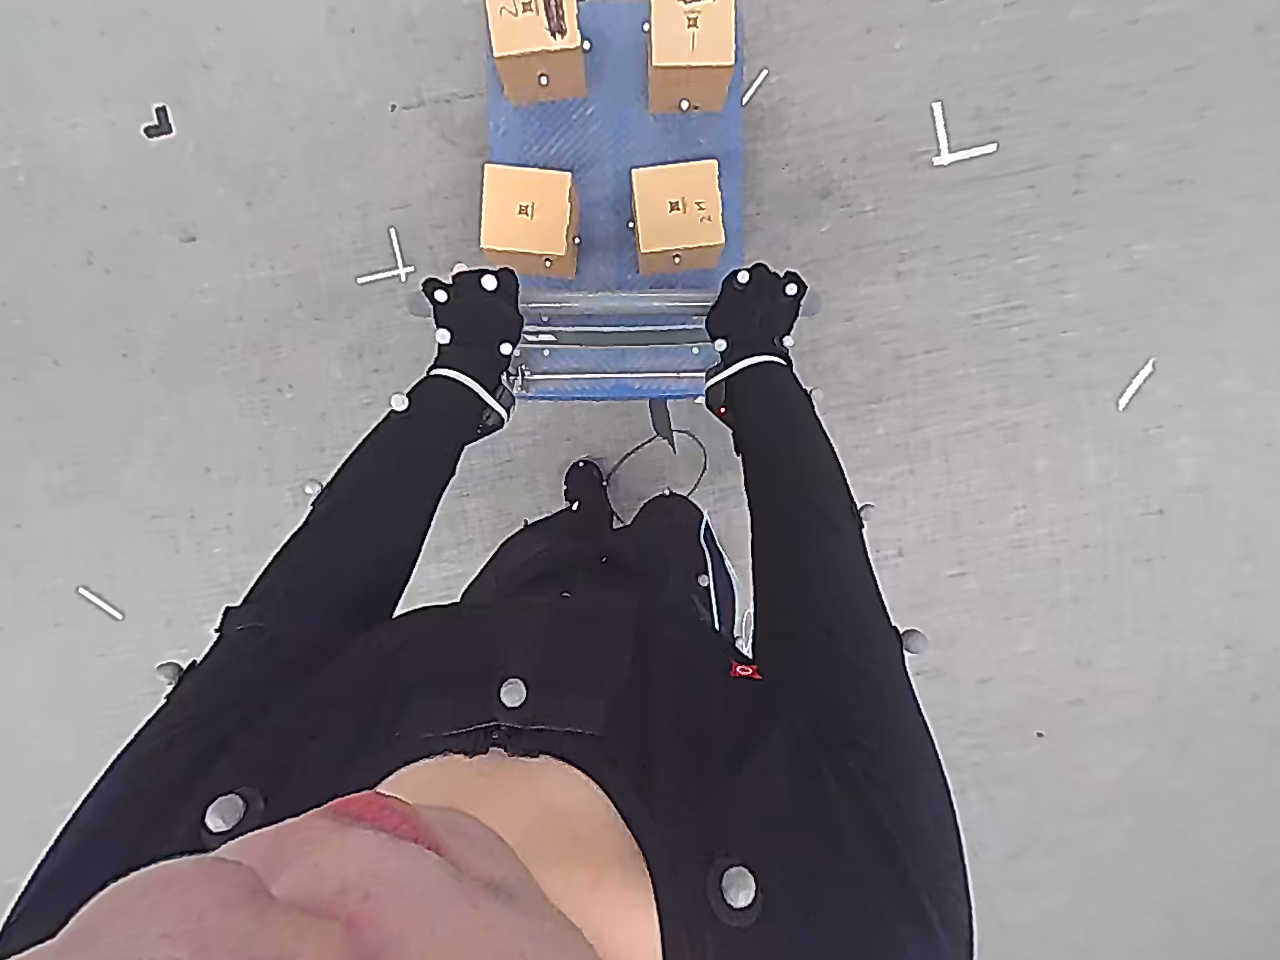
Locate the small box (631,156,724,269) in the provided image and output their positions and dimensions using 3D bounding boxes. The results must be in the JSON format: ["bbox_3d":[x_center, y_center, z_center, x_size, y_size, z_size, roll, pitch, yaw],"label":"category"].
[{"bbox_3d":[0.077,-0.568,1.169,0.179,0.176,0.168,-6,96,0],"label":"small box"}]

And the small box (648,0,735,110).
[{"bbox_3d":[0.102,-0.919,1.134,0.168,0.176,0.179,-1,97,-1],"label":"small box"}]

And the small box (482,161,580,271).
[{"bbox_3d":[-0.228,-0.560,1.167,0.179,0.176,0.168,4,96,-1],"label":"small box"}]
